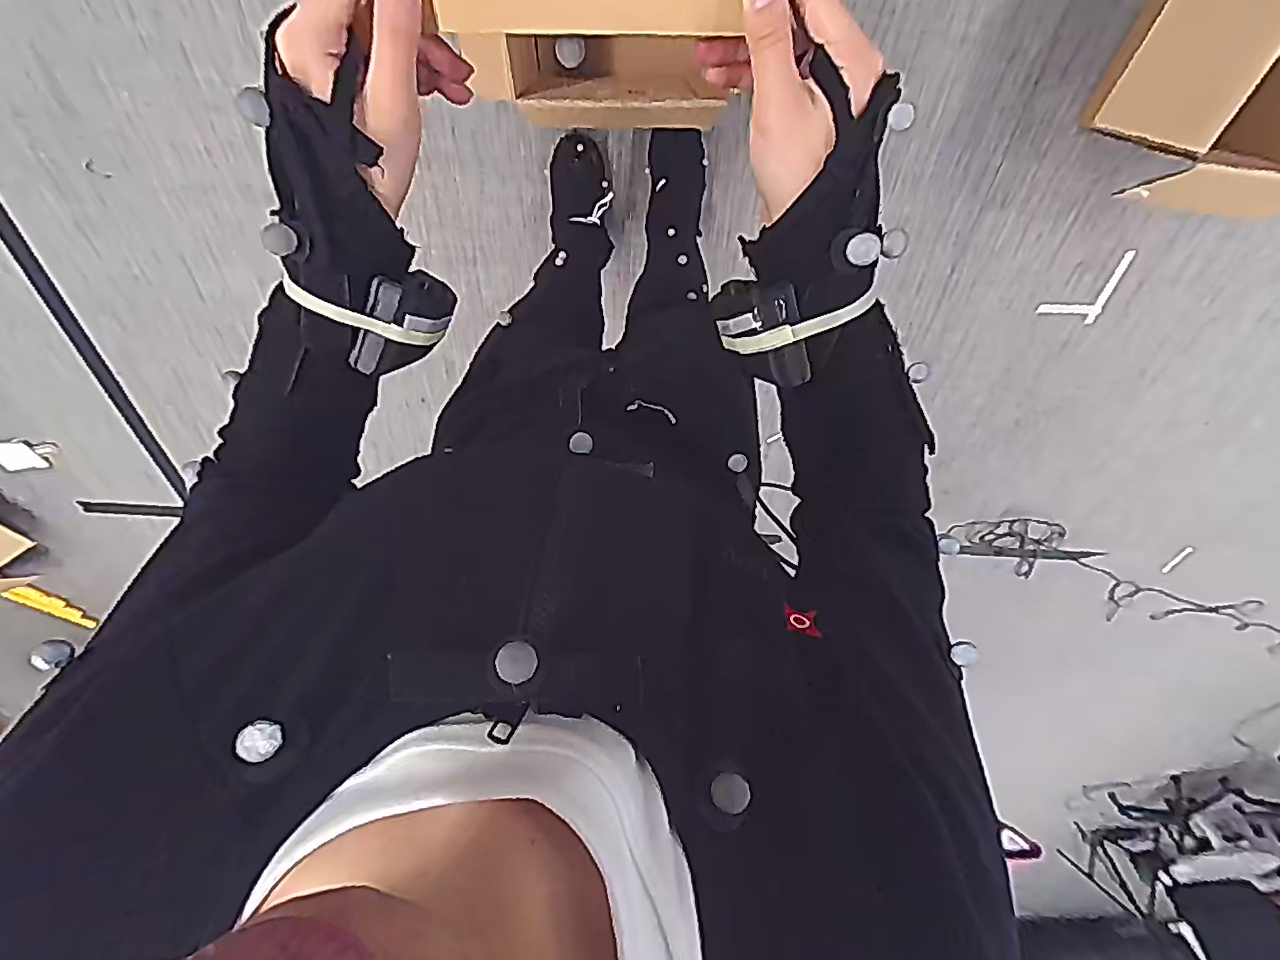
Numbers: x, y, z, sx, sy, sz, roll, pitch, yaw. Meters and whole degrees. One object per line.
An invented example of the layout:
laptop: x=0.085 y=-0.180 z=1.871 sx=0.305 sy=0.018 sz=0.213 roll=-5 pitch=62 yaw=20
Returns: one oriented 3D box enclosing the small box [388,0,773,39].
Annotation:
small box: x=-0.027 y=-0.322 z=0.247 sx=0.179 sy=0.176 sz=0.168 roll=0 pitch=136 yaw=-1
